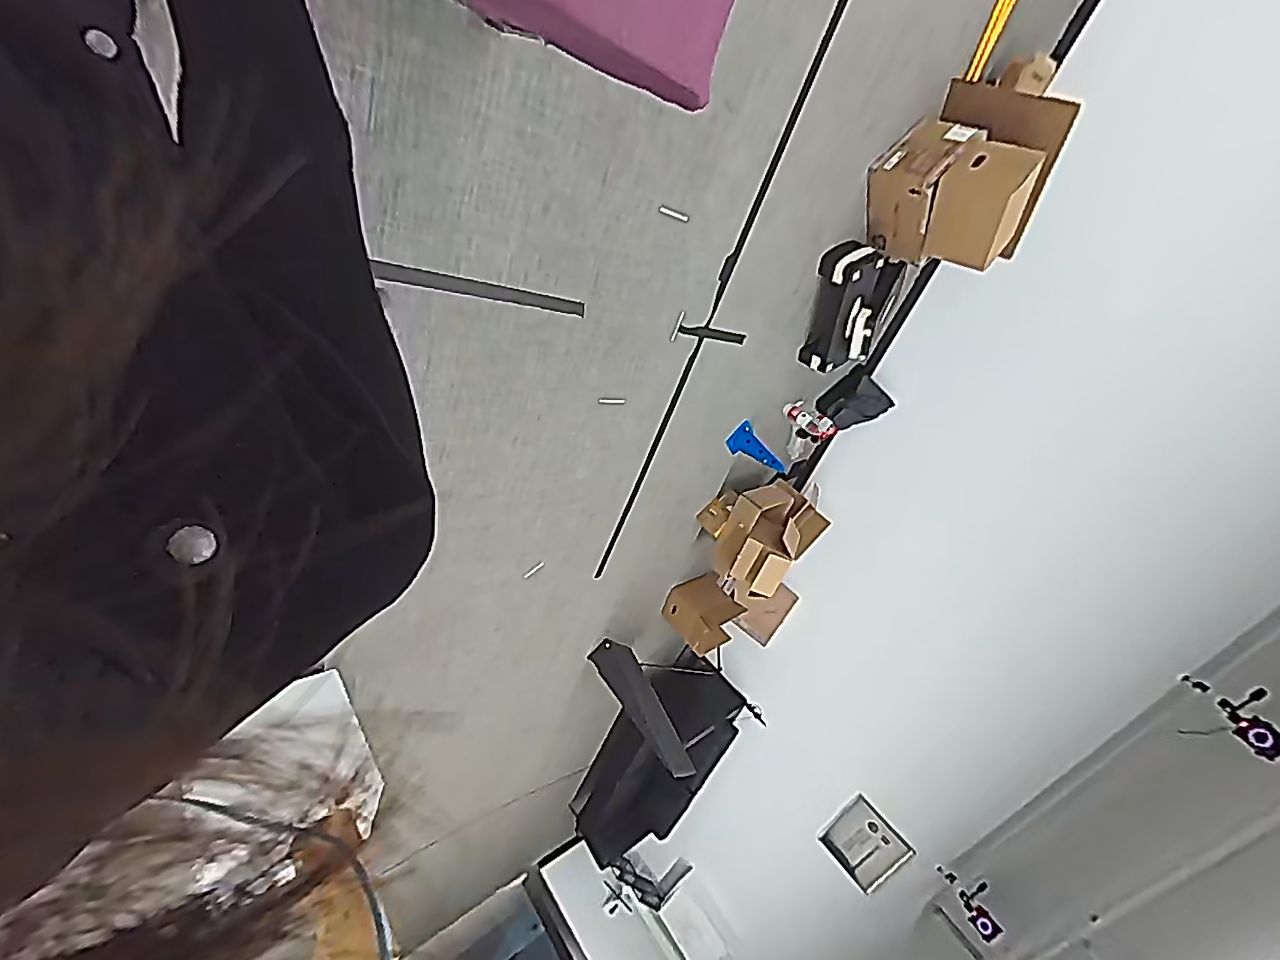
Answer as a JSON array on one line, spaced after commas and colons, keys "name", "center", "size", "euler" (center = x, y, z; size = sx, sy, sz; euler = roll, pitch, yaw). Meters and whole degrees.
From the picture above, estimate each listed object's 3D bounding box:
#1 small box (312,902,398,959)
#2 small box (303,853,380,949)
[{"name": "small box", "center": [-0.884, 1.466, 1.672], "size": [0.179, 0.176, 0.168], "euler": [-5, 130, -47]}, {"name": "small box", "center": [-0.979, 1.371, 1.765], "size": [0.168, 0.176, 0.179], "euler": [-4, 129, -48]}]
